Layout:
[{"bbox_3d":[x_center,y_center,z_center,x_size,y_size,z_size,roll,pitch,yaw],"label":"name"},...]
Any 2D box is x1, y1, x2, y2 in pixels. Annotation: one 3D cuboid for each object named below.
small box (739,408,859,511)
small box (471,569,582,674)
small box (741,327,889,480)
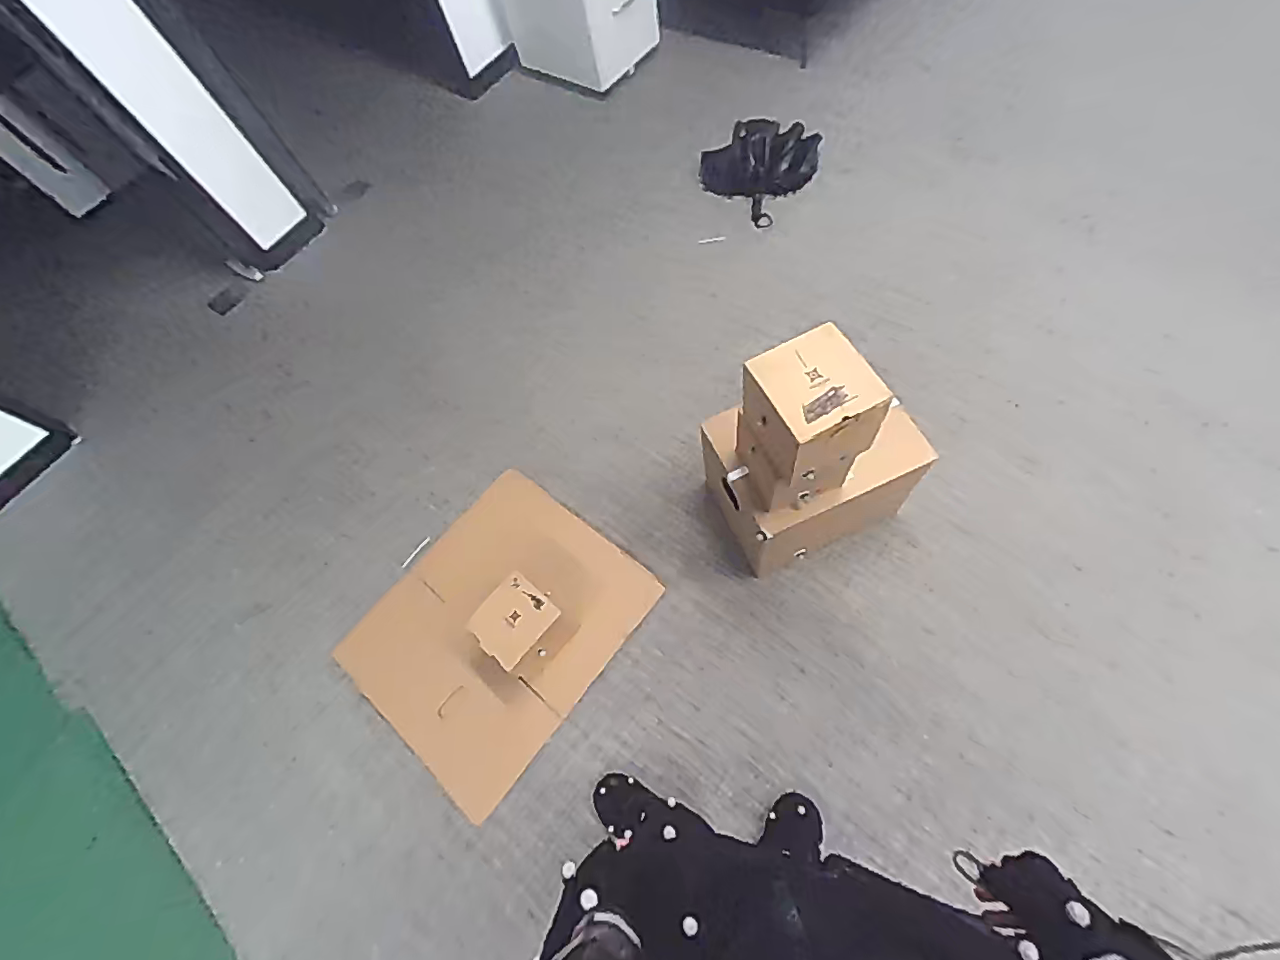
[{"bbox_3d":[0.306,-0.063,1.087,0.168,0.176,0.179,-22,65,0],"label":"small box"},{"bbox_3d":[-0.269,0.352,1.322,0.168,0.176,0.179,34,76,25],"label":"small box"},{"bbox_3d":[0.289,-0.120,0.933,0.168,0.176,0.179,-29,65,-3],"label":"small box"}]
